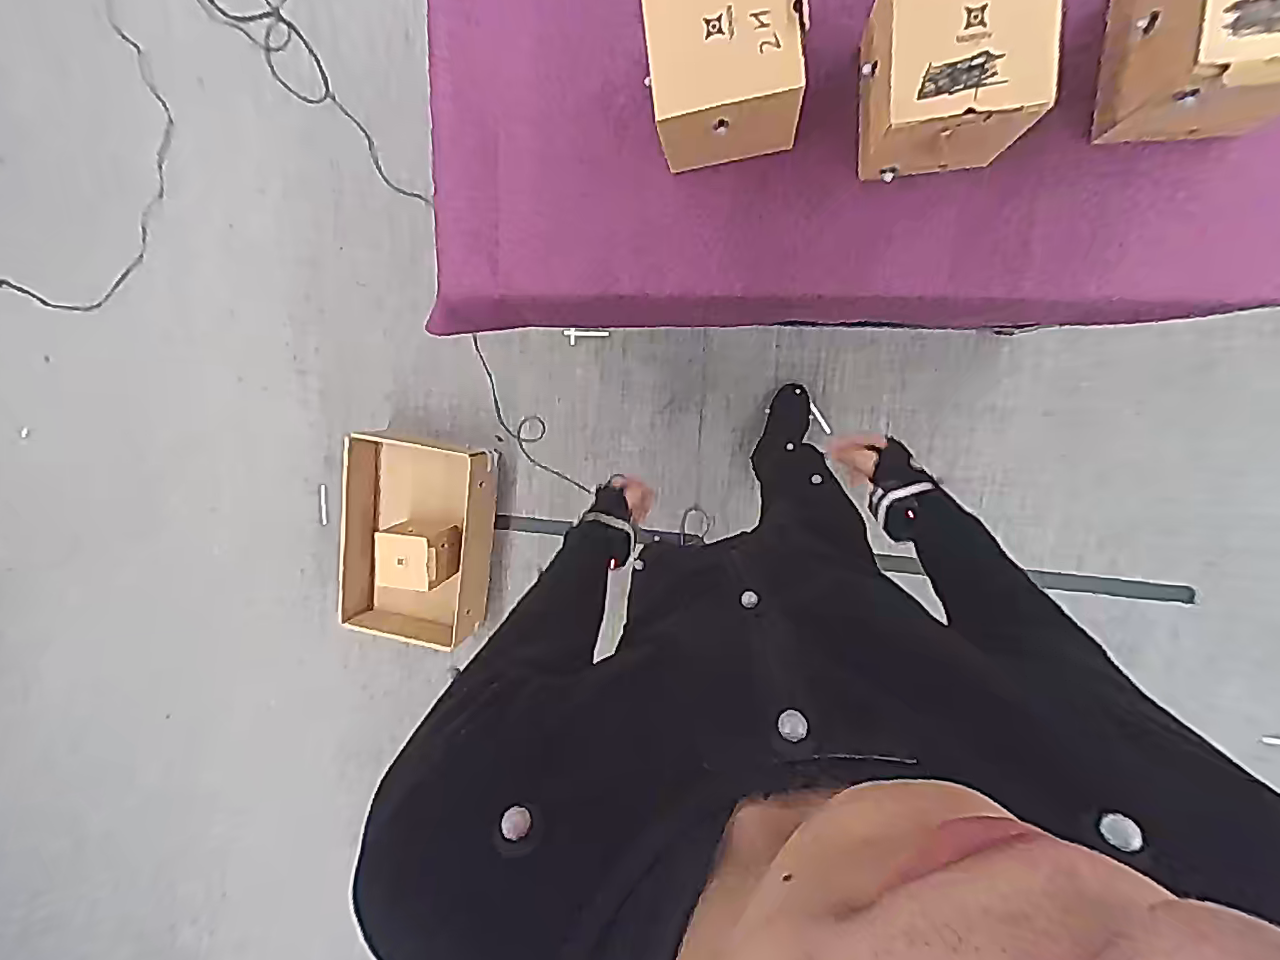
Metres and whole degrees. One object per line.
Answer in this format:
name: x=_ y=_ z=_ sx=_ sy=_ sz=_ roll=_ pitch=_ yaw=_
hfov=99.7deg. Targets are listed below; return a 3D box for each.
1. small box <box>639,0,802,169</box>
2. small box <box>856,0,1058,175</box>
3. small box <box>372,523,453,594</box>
small box: x=0.104 y=-0.524 z=0.690 sx=0.179 sy=0.176 sz=0.168 roll=-6 pitch=99 yaw=10
small box: x=0.365 y=-0.491 z=0.651 sx=0.168 sy=0.176 sz=0.179 roll=-1 pitch=98 yaw=10
small box: x=-0.689 y=0.234 z=1.656 sx=0.179 sy=0.176 sz=0.168 roll=5 pitch=99 yaw=9
